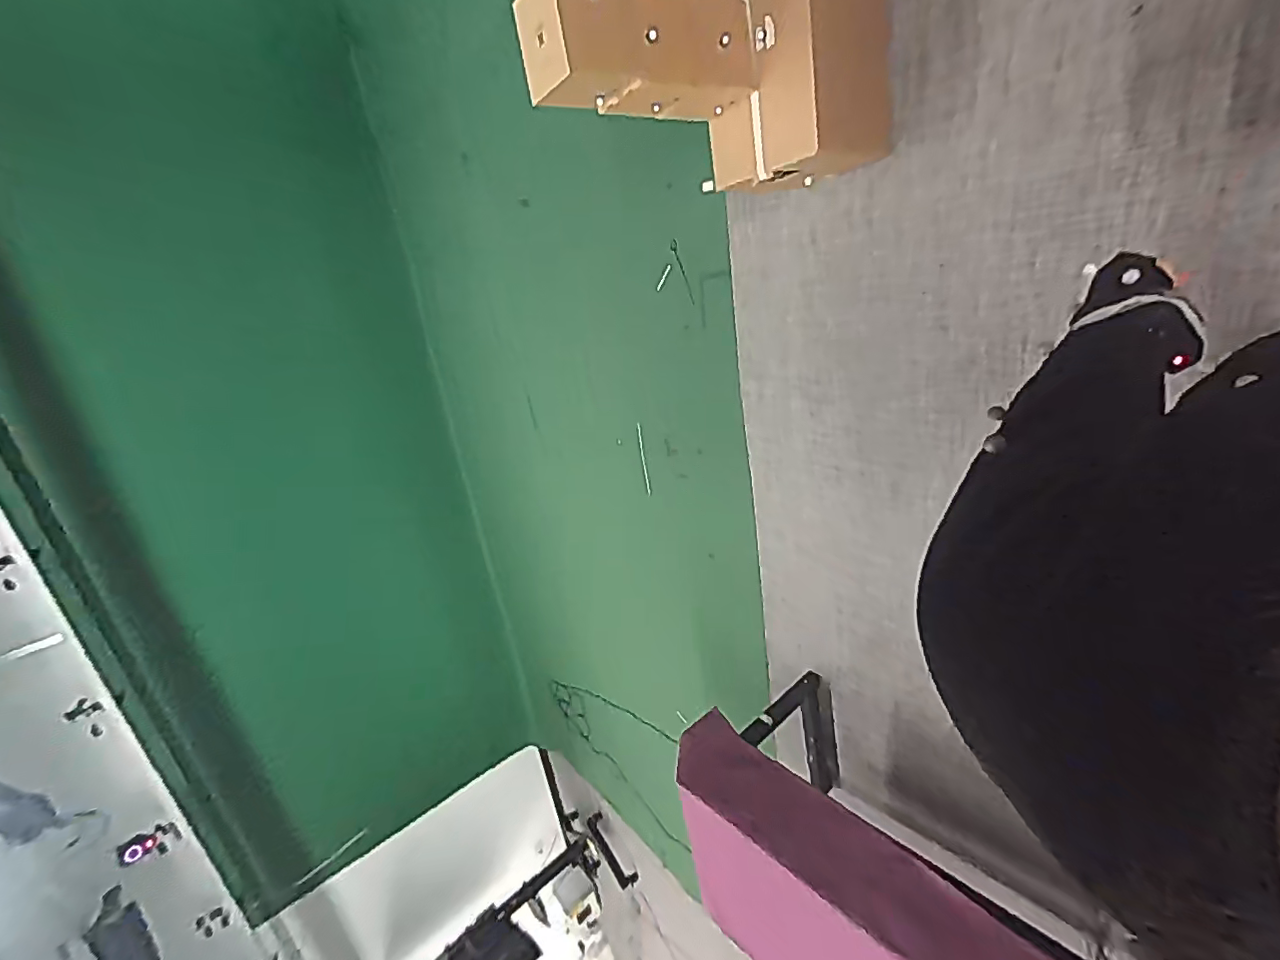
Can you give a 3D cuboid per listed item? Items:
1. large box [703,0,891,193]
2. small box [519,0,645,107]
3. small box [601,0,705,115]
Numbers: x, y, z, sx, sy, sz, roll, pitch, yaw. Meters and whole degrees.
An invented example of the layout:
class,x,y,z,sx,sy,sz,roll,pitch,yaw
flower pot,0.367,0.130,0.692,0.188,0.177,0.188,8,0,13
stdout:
class,x,y,z,sx,sy,sz,roll,pitch,yaw
large box,0.392,-0.968,1.332,0.320,0.320,0.408,13,118,51
small box,-0.111,-0.861,1.062,0.168,0.176,0.179,19,124,53
small box,0.017,-0.906,1.153,0.168,0.176,0.179,15,121,53
